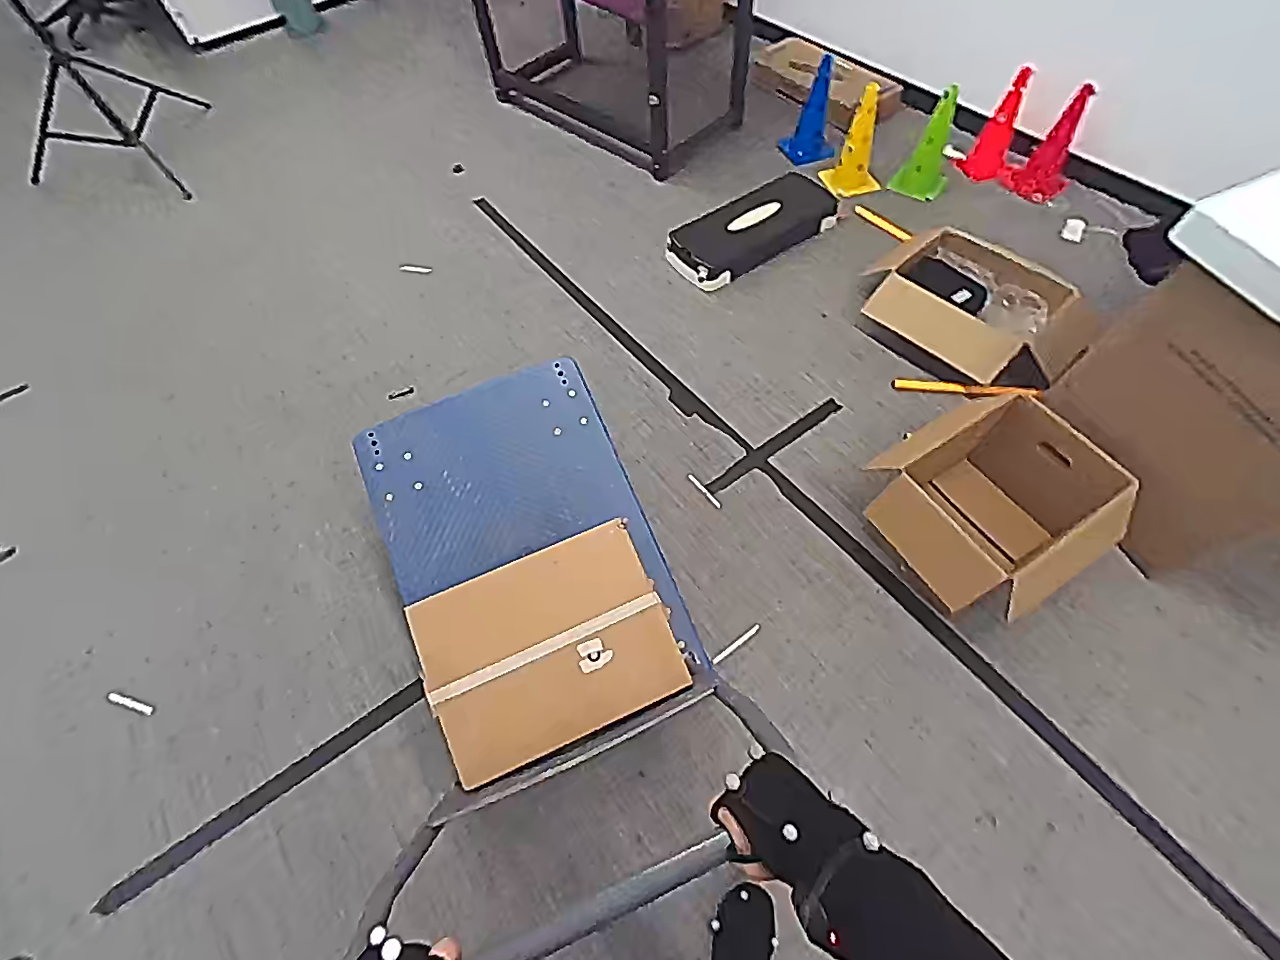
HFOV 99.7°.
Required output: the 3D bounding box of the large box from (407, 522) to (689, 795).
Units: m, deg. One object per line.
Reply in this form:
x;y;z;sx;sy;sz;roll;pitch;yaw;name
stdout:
-0.165;0.327;1.053;0.408;0.320;0.320;-23;78;-9;large box
